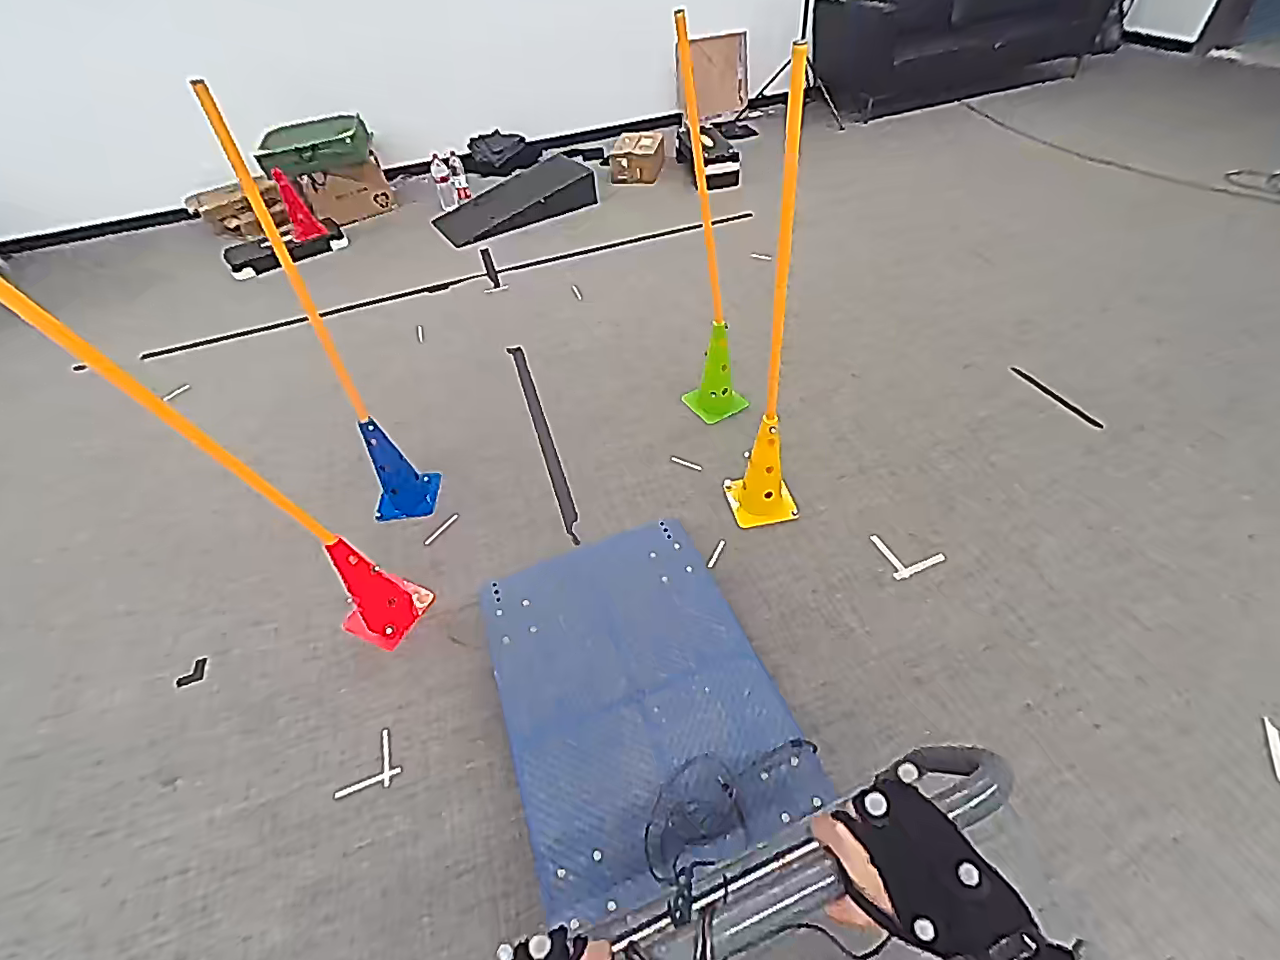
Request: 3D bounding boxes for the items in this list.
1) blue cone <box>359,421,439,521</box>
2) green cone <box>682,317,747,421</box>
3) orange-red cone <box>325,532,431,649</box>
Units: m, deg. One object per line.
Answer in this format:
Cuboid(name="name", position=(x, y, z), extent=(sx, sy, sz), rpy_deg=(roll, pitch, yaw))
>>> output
Cuboid(name="blue cone", position=(-0.815, -0.048, 1.765), extent=(0.193, 0.380, 0.192), rpy_deg=(-6, 48, 0))
Cuboid(name="green cone", position=(0.280, -0.431, 1.988), extent=(0.200, 0.368, 0.202), rpy_deg=(-28, 52, -19))
Cuboid(name="orange-red cone", position=(-0.746, 0.261, 1.455), extent=(0.198, 0.360, 0.199), rpy_deg=(18, 50, 20))
